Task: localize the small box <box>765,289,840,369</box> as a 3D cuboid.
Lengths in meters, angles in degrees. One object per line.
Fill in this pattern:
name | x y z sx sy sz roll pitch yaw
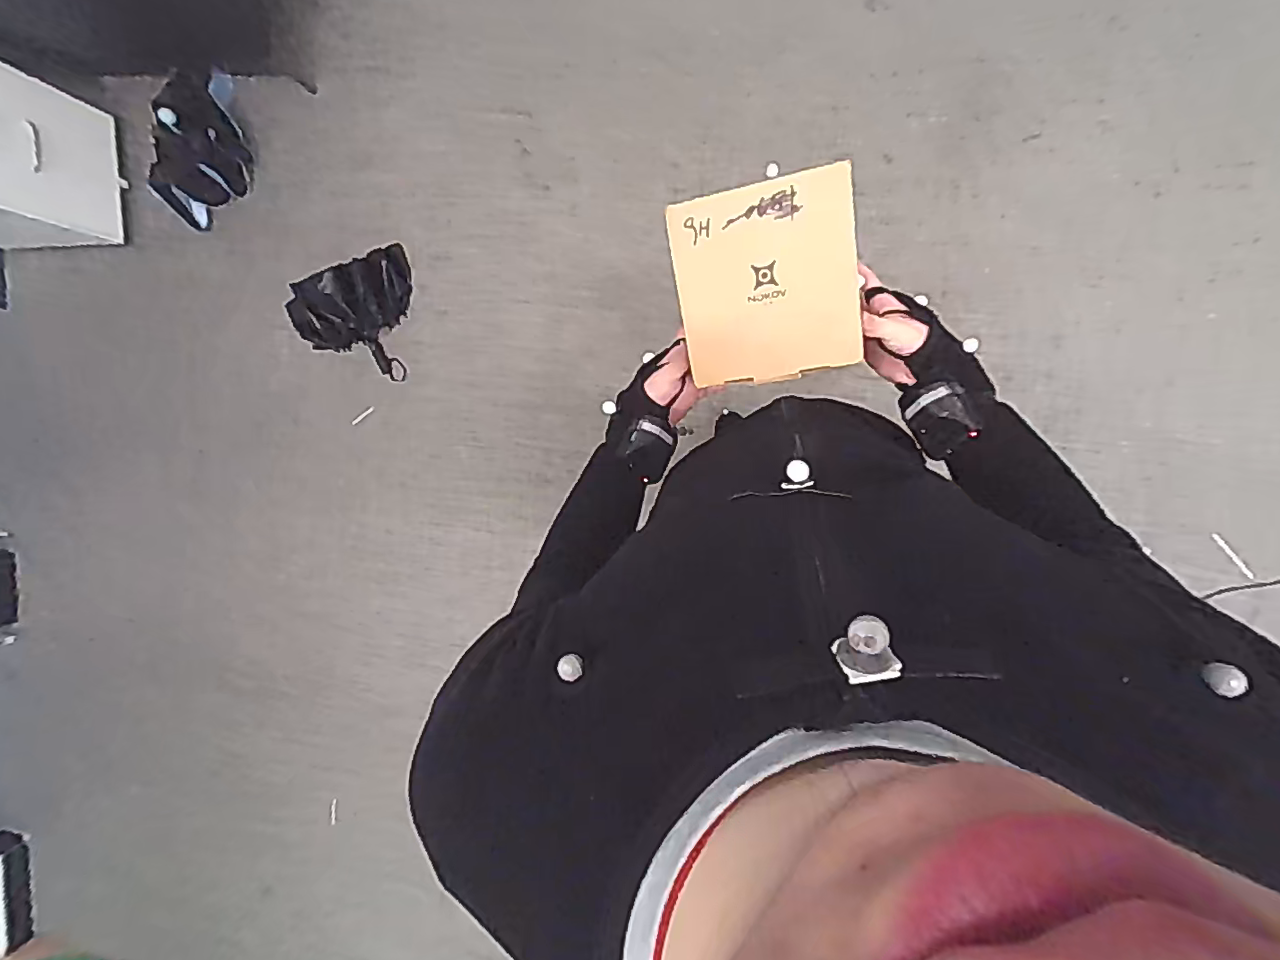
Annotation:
small box | 0.411 -0.382 1.390 0.168 0.176 0.179 2 98 11
